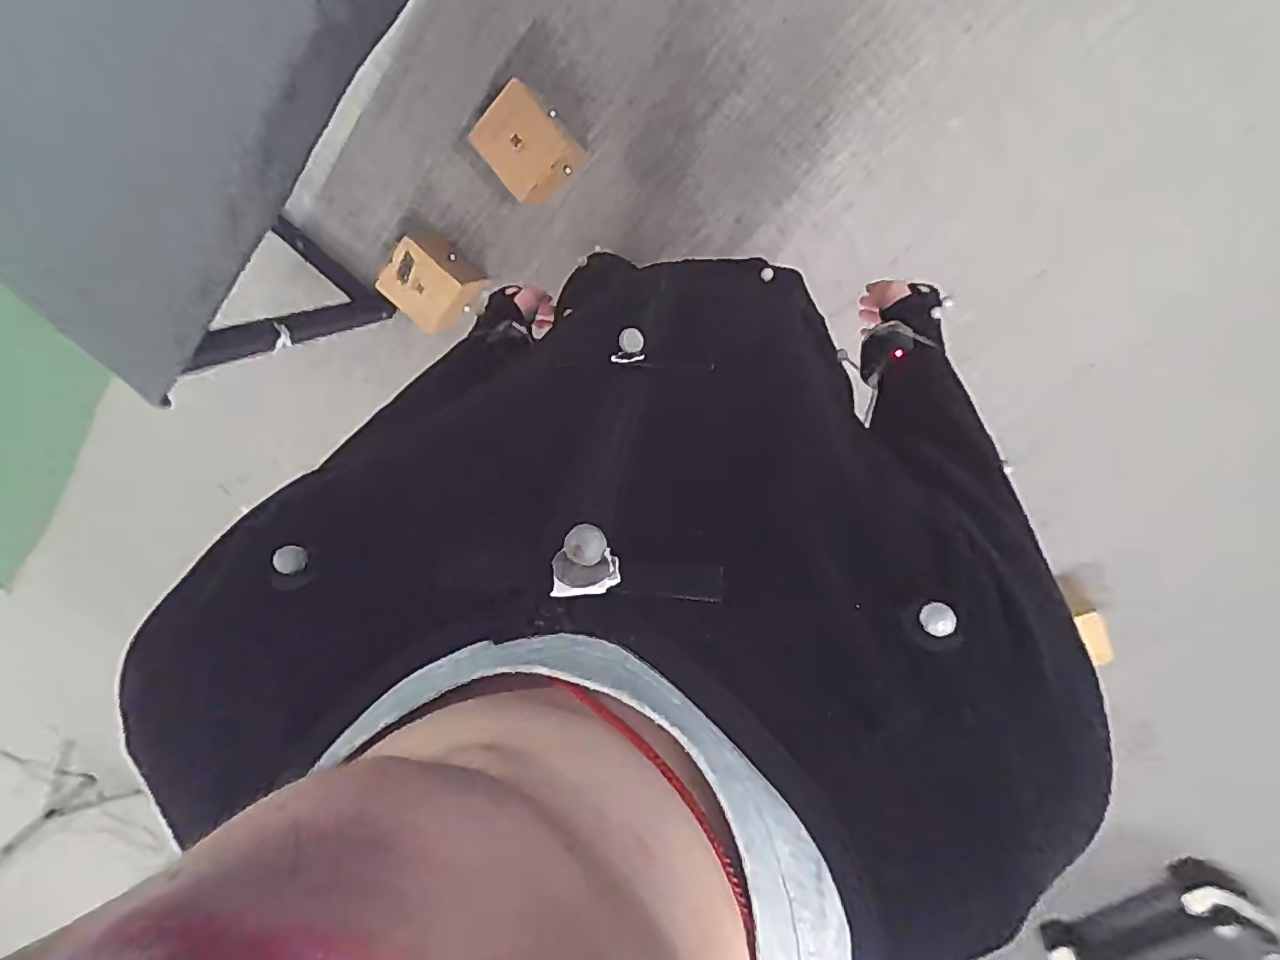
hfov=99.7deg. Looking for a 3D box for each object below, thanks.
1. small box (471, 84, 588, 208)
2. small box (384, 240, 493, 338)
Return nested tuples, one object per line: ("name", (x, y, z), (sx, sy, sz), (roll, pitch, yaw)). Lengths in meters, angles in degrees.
("small box", (-0.247, -0.760, 1.253), (0.168, 0.176, 0.179), (-38, 102, 23))
("small box", (-0.525, -0.507, 1.427), (0.179, 0.176, 0.168), (41, 116, -10))
